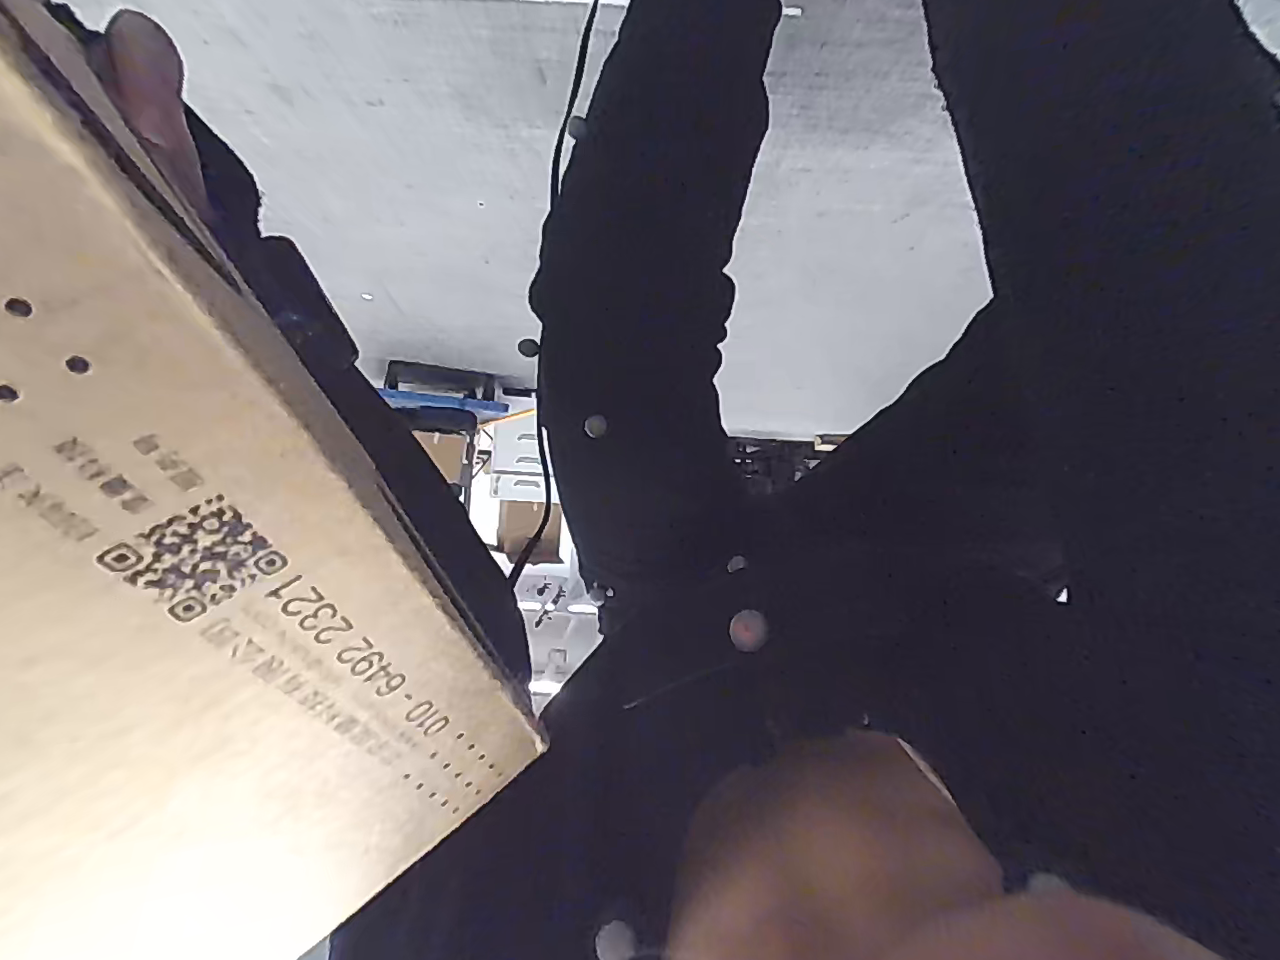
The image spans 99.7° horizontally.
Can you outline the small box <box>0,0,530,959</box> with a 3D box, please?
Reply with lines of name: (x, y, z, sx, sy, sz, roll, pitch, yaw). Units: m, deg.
small box: (-0.153, 0.012, 0.131, 0.176, 0.168, 0.179, -34, -134, -20)
